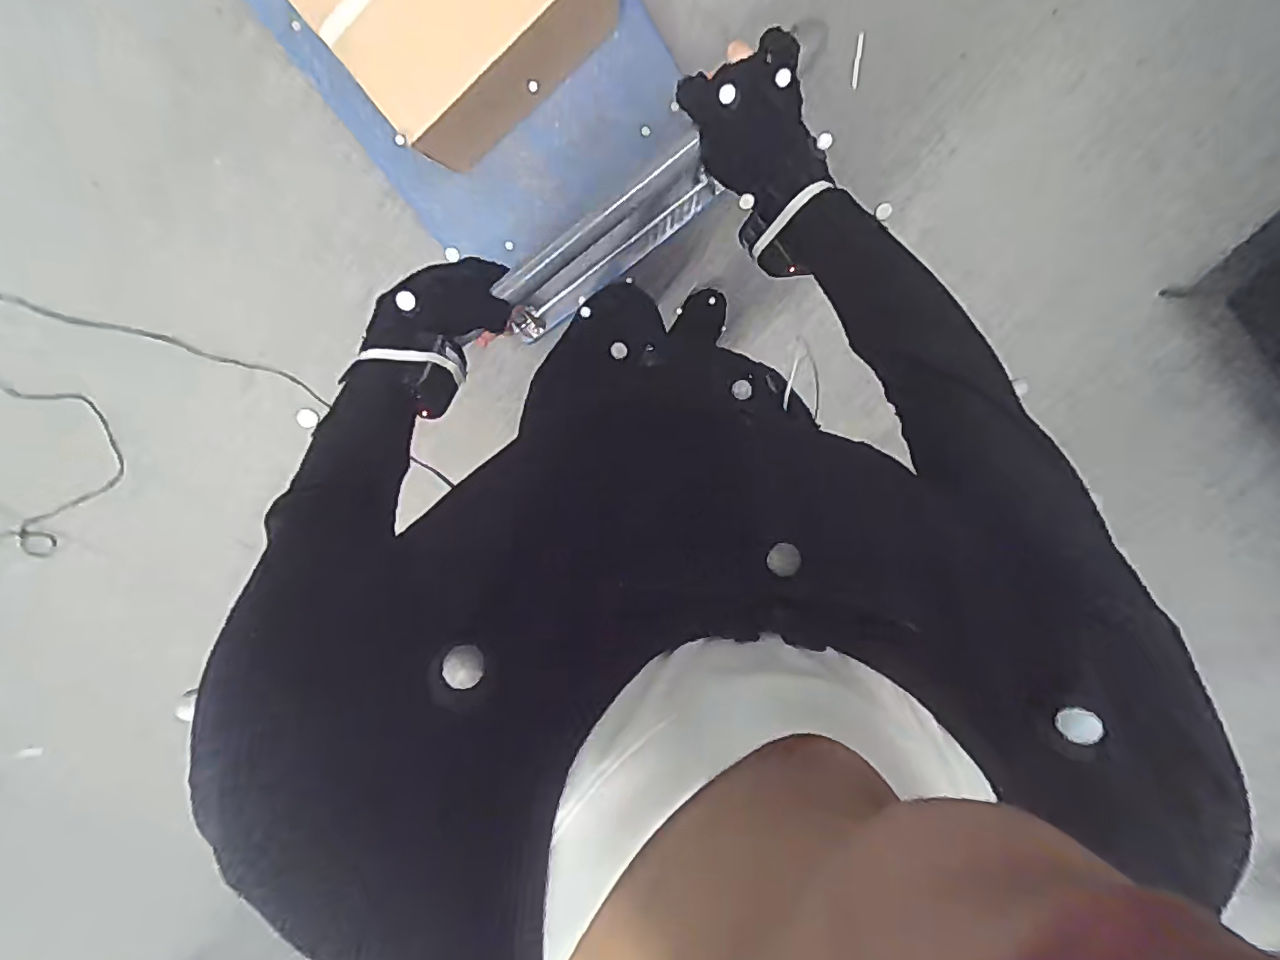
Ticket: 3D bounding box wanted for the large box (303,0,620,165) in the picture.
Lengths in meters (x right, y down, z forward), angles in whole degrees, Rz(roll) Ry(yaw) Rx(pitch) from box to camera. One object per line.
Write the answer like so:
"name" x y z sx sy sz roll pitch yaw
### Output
"large box" -0.274 -0.789 0.853 0.408 0.320 0.320 -37 109 13
